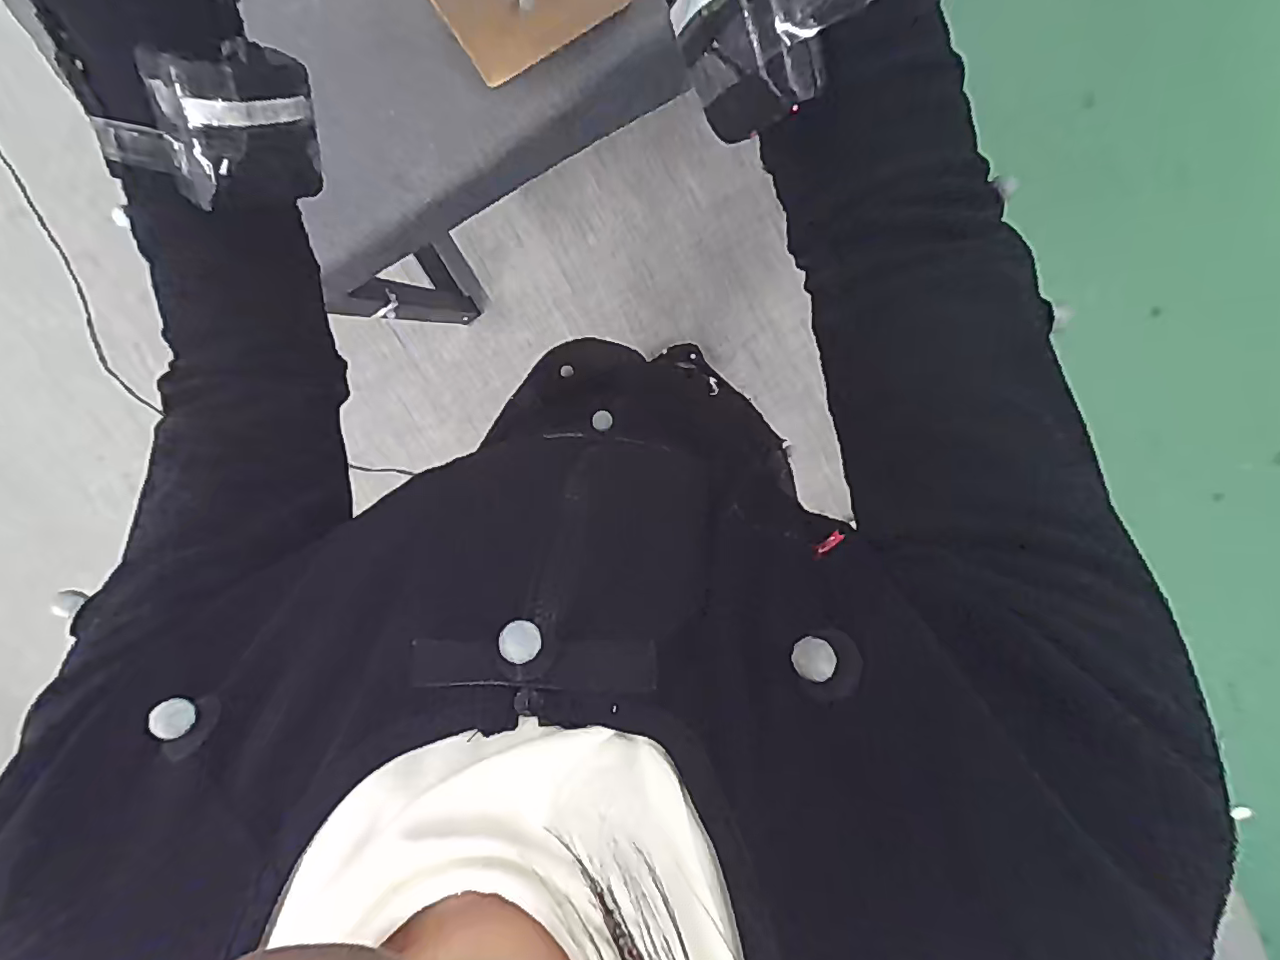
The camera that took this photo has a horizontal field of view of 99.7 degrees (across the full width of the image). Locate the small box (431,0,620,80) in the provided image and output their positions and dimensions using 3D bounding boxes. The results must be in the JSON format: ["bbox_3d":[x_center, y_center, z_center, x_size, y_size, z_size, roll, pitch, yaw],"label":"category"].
[{"bbox_3d":[-0.126,-0.512,0.482,0.179,0.176,0.168,-25,100,10],"label":"small box"}]
